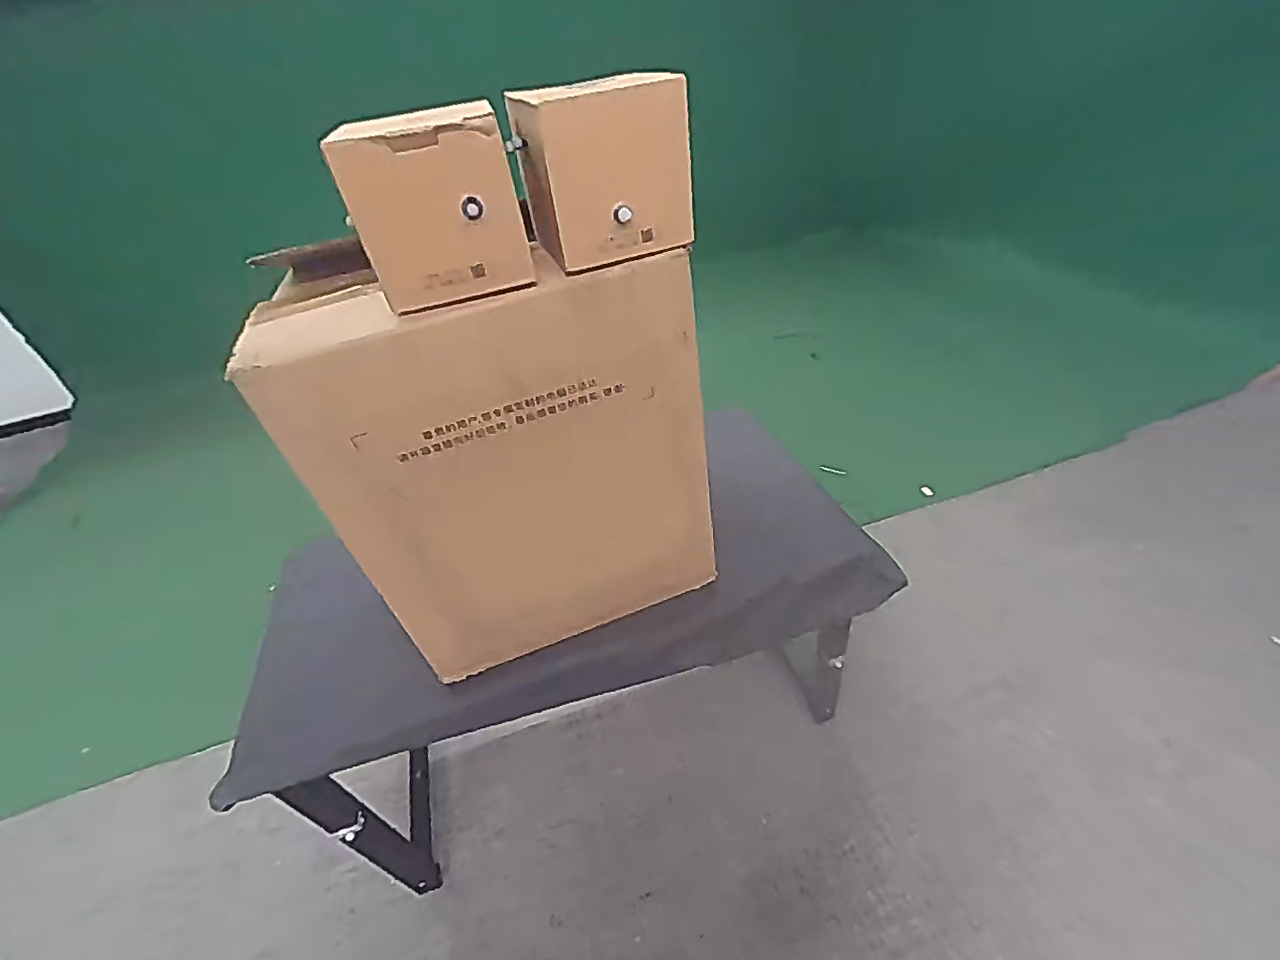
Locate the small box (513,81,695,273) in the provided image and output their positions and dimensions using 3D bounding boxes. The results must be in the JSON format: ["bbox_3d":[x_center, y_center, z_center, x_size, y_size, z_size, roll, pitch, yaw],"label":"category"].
[{"bbox_3d":[-0.042,-0.370,0.658,0.168,0.176,0.179,-18,41,-11],"label":"small box"}]
